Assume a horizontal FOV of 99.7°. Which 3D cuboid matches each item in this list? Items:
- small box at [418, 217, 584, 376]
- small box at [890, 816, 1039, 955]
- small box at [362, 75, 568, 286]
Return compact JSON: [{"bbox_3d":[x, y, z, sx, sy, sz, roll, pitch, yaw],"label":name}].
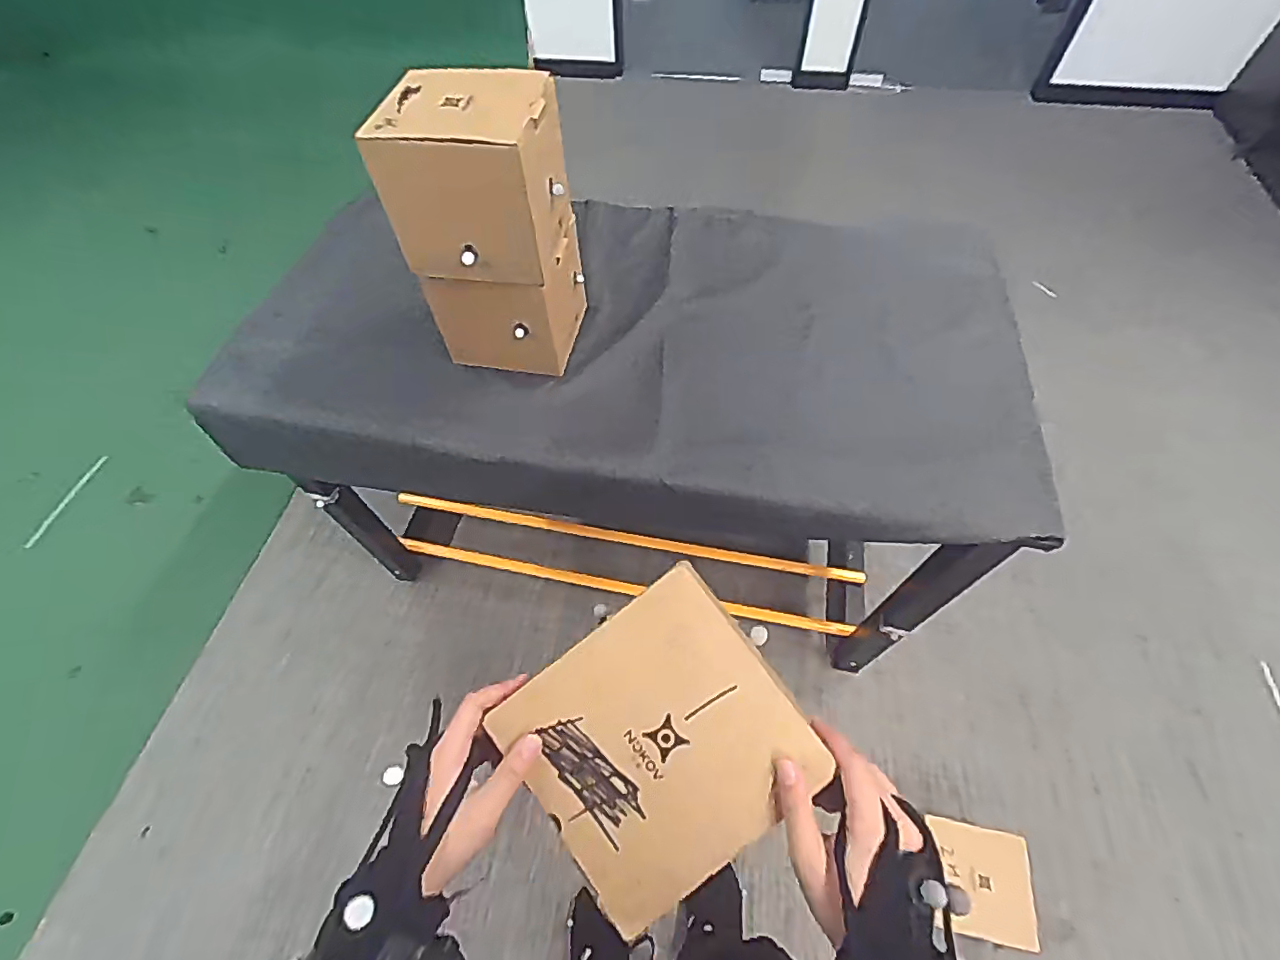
[{"bbox_3d":[-0.189,-0.274,0.803,0.179,0.176,0.168,8,56,7],"label":"small box"},{"bbox_3d":[0.583,0.734,0.997,0.179,0.176,0.168,9,57,8],"label":"small box"},{"bbox_3d":[-0.193,-0.360,0.662,0.179,0.176,0.168,6,56,4],"label":"small box"}]
